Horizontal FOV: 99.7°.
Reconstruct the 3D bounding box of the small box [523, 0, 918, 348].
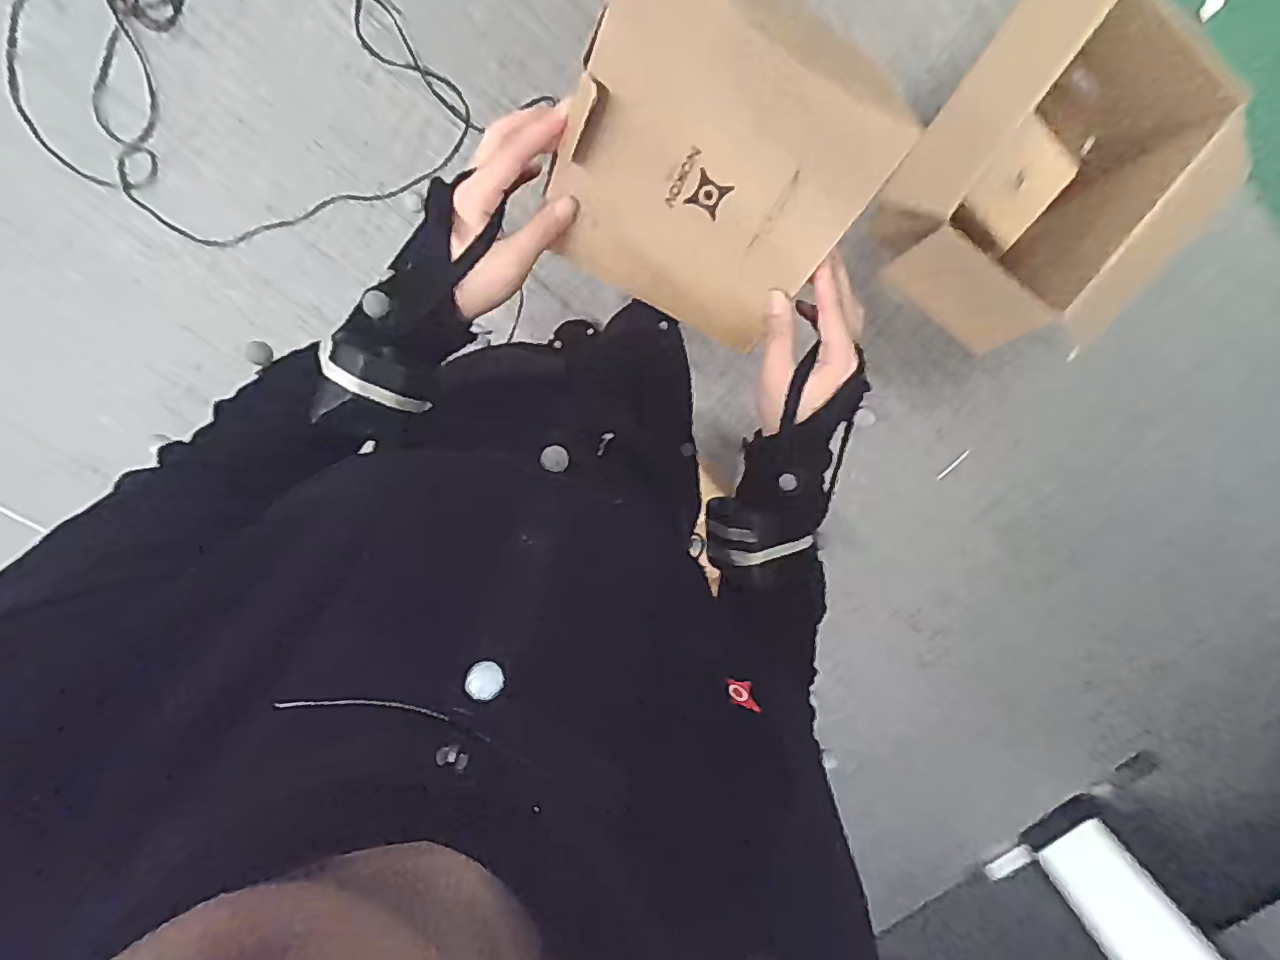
[{"bbox_3d":[0.044,-0.230,0.368,0.179,0.176,0.168,22,138,-14],"label":"small box"}]
